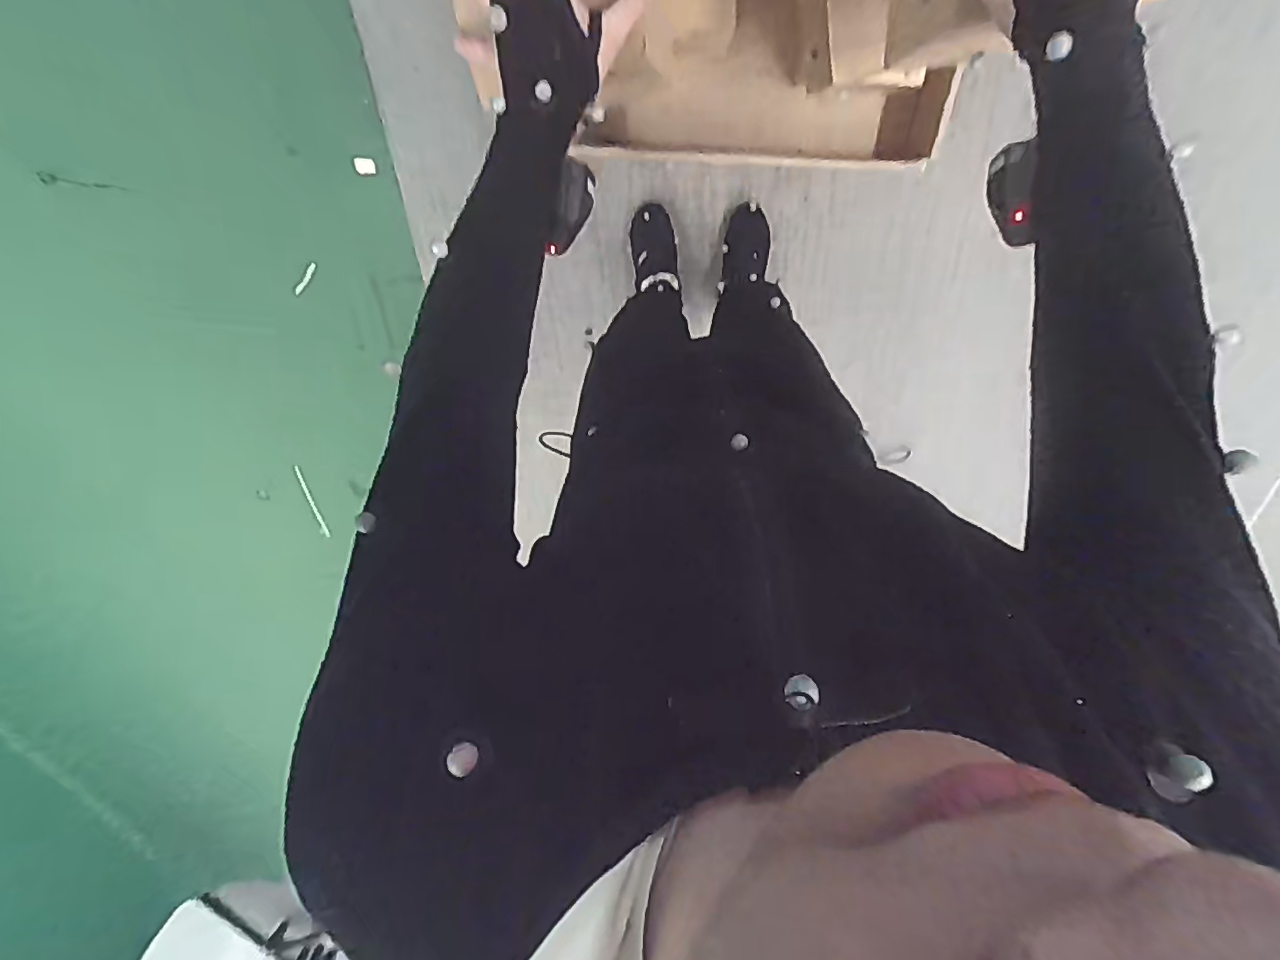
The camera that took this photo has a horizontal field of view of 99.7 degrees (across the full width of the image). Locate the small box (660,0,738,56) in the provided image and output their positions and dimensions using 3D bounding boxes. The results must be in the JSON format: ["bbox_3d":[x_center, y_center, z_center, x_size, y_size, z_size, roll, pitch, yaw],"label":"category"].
[{"bbox_3d":[0.042,-0.668,0.695,0.168,0.176,0.179,2,122,4],"label":"small box"}]

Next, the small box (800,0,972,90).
[{"bbox_3d":[0.306,-0.627,0.694,0.168,0.176,0.179,-11,119,11],"label":"small box"}]

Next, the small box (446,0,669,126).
[{"bbox_3d":[-0.076,-0.468,0.522,0.168,0.176,0.179,-5,118,17],"label":"small box"}]
